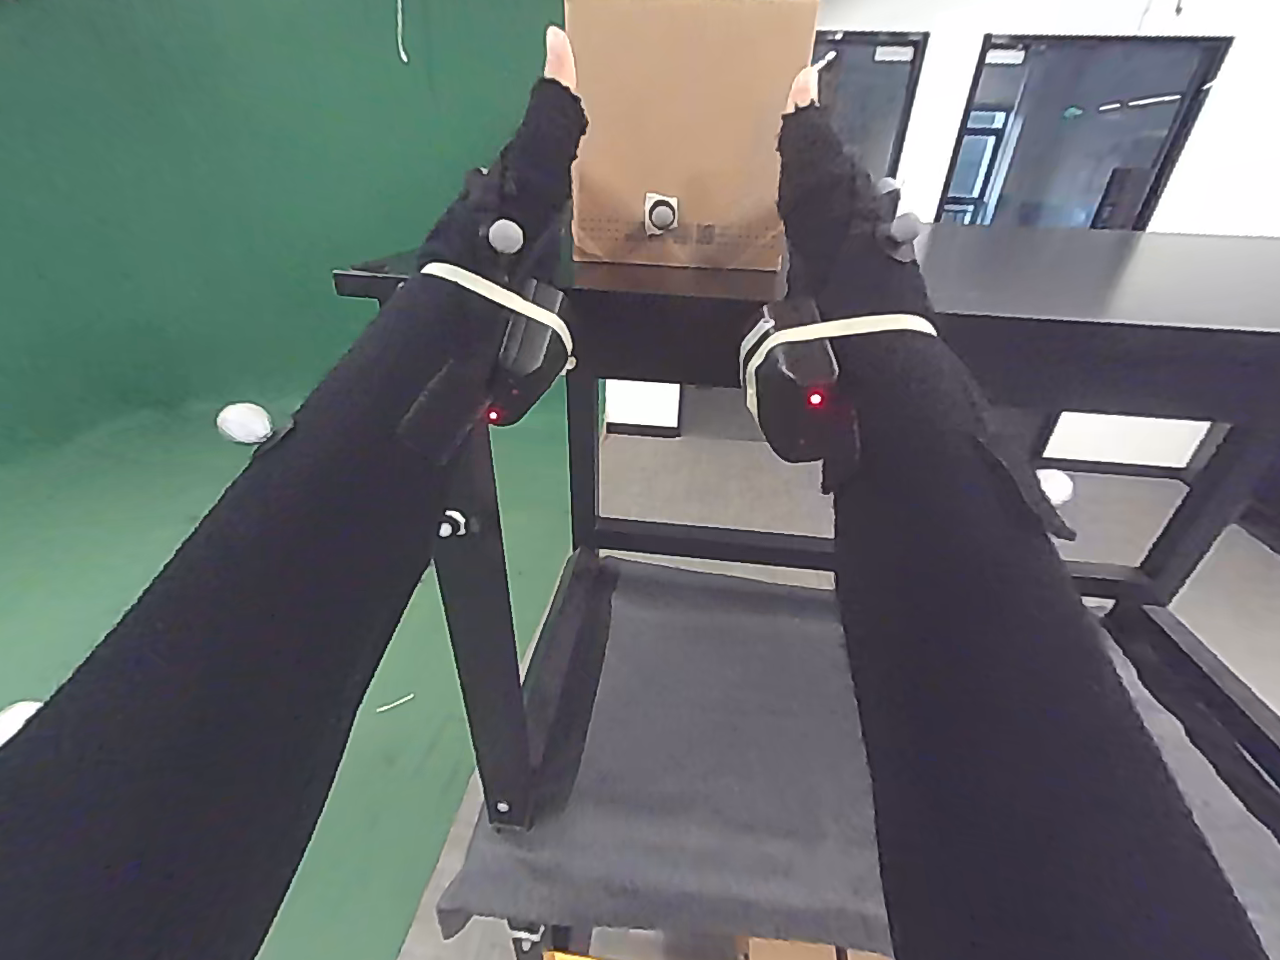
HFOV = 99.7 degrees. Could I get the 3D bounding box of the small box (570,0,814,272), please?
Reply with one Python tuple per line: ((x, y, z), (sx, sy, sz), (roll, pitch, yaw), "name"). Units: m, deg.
((0.036, -0.285, 0.466), (0.168, 0.176, 0.179), (3, 30, 3), "small box")
